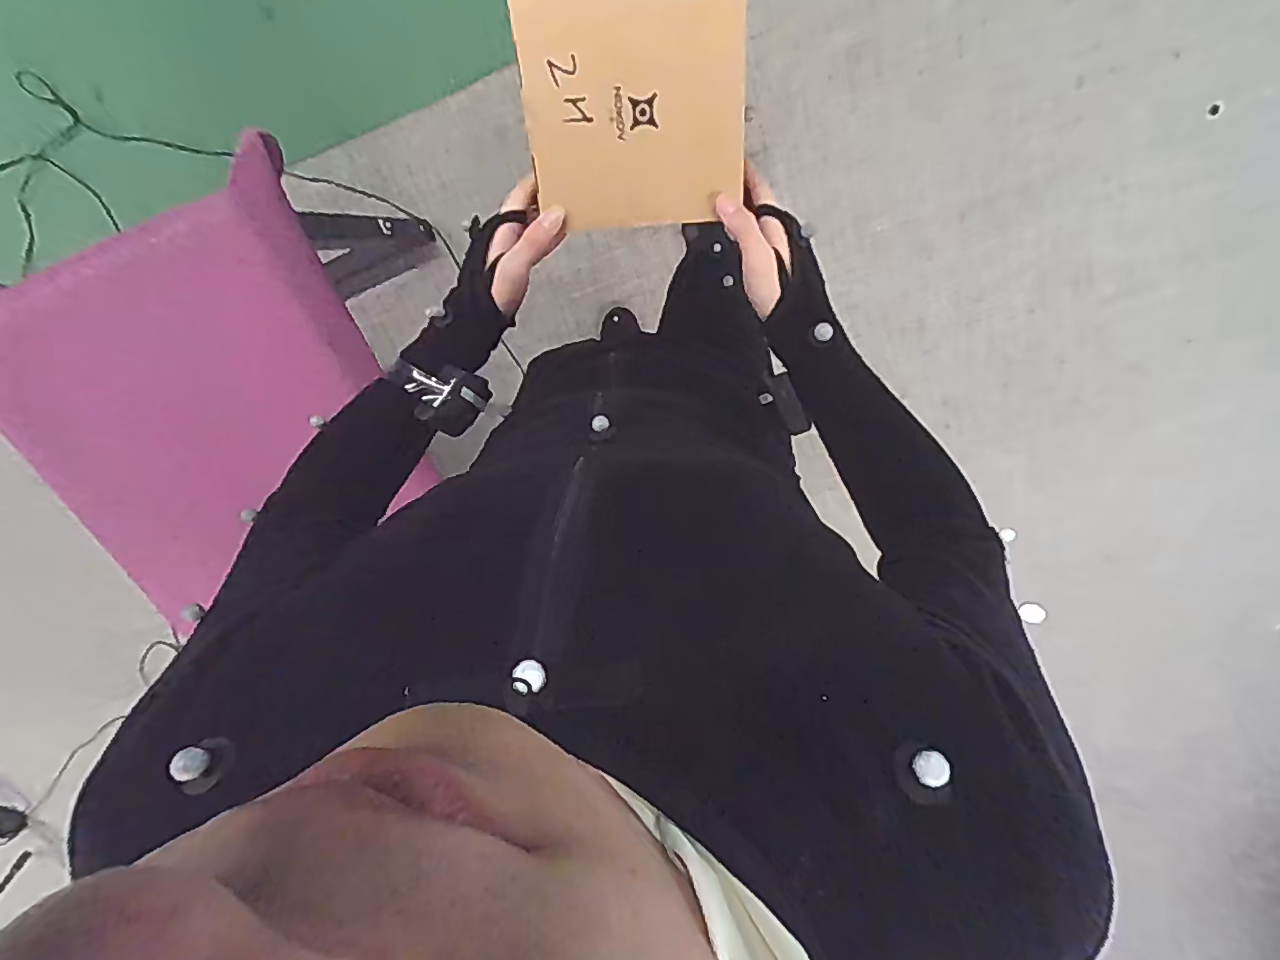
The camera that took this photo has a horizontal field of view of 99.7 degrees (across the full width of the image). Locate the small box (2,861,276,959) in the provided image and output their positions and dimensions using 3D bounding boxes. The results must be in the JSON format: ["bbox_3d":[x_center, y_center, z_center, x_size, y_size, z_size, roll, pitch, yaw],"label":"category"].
[{"bbox_3d":[-0.510,0.514,0.522,0.168,0.176,0.179,-20,109,12],"label":"small box"}]

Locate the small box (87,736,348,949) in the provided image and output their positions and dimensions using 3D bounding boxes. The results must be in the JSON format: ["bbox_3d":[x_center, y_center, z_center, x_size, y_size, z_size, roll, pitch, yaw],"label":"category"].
[{"bbox_3d":[-0.503,0.453,0.674,0.179,0.176,0.168,-20,110,11],"label":"small box"}]

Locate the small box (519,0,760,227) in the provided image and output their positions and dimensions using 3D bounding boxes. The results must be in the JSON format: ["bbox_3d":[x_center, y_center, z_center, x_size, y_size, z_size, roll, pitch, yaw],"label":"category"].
[{"bbox_3d":[0.009,-0.333,0.489,0.179,0.176,0.168,0,121,7],"label":"small box"}]
